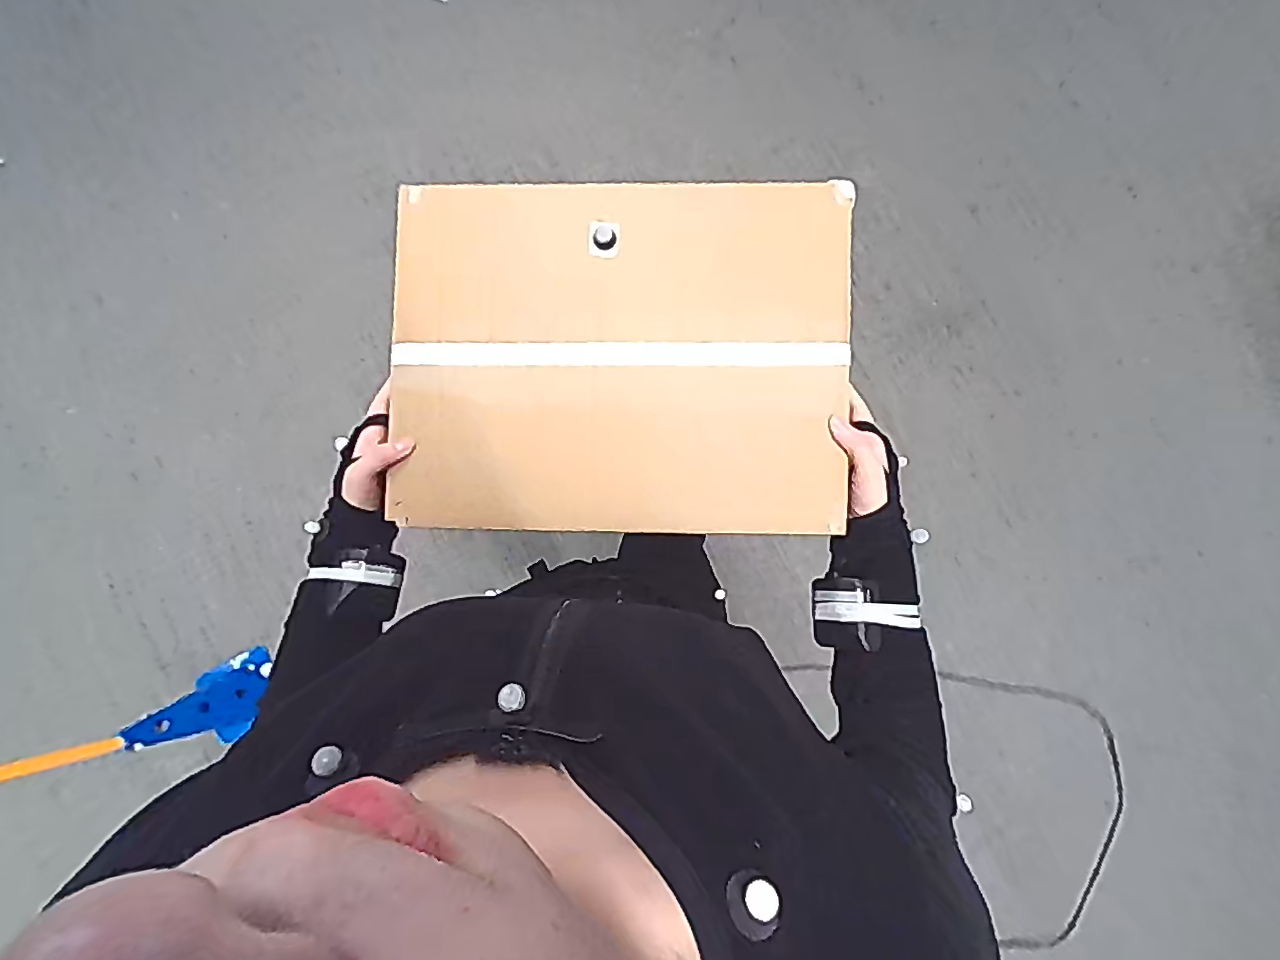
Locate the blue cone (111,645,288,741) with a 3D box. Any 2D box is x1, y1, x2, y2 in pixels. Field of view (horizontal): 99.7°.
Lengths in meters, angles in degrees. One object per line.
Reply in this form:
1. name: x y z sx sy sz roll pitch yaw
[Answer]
1. blue cone: -1.042 0.532 1.255 0.192 0.380 0.193 -29 84 -4
